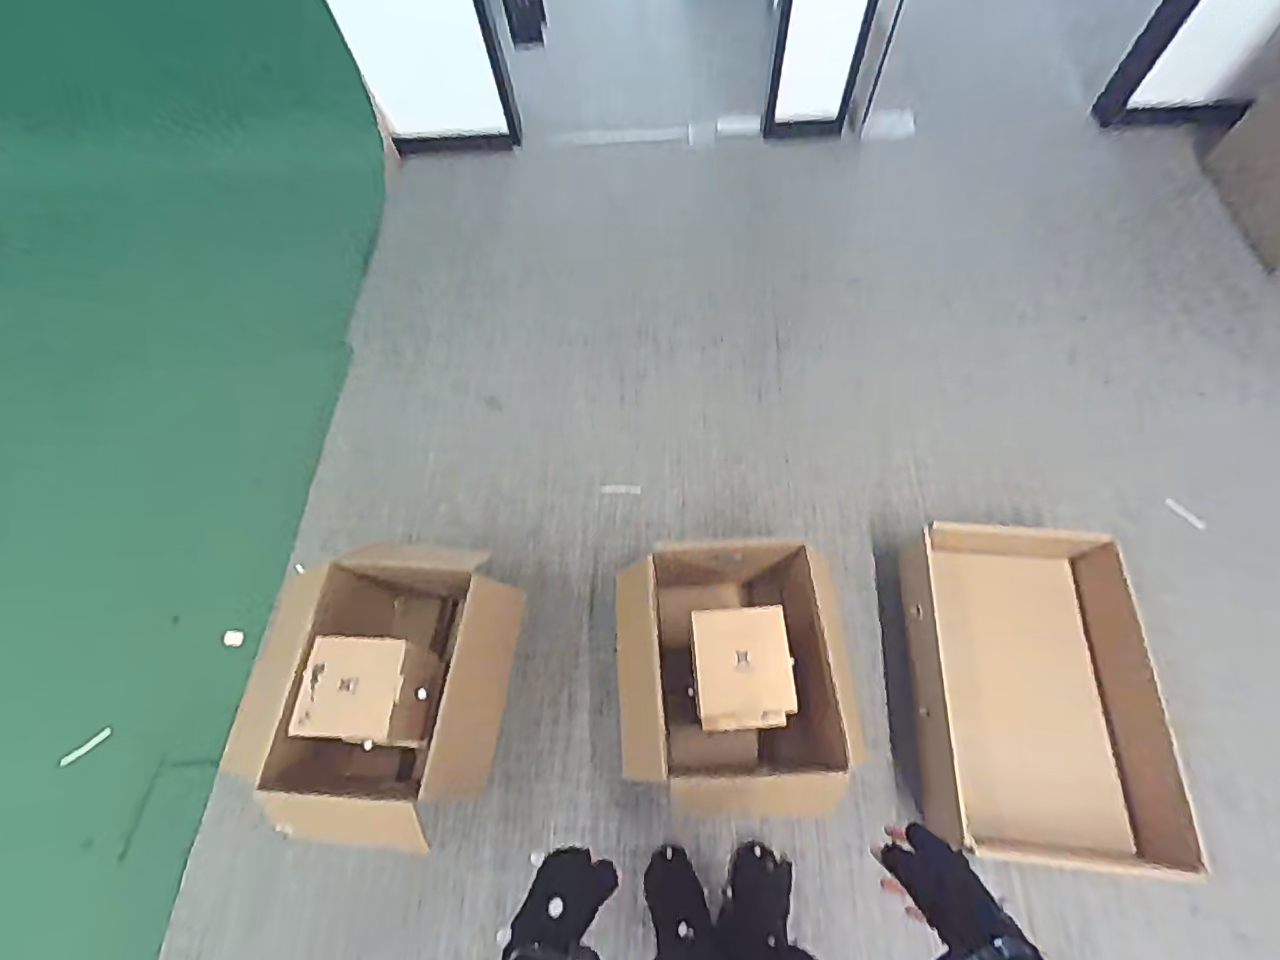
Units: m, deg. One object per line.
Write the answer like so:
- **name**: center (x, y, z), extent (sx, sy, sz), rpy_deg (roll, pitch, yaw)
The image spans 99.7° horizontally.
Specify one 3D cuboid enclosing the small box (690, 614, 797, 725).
- **small box**: center (0.182, 0.355, 1.008), extent (0.168, 0.176, 0.179), rpy_deg (-4, 66, 1)
